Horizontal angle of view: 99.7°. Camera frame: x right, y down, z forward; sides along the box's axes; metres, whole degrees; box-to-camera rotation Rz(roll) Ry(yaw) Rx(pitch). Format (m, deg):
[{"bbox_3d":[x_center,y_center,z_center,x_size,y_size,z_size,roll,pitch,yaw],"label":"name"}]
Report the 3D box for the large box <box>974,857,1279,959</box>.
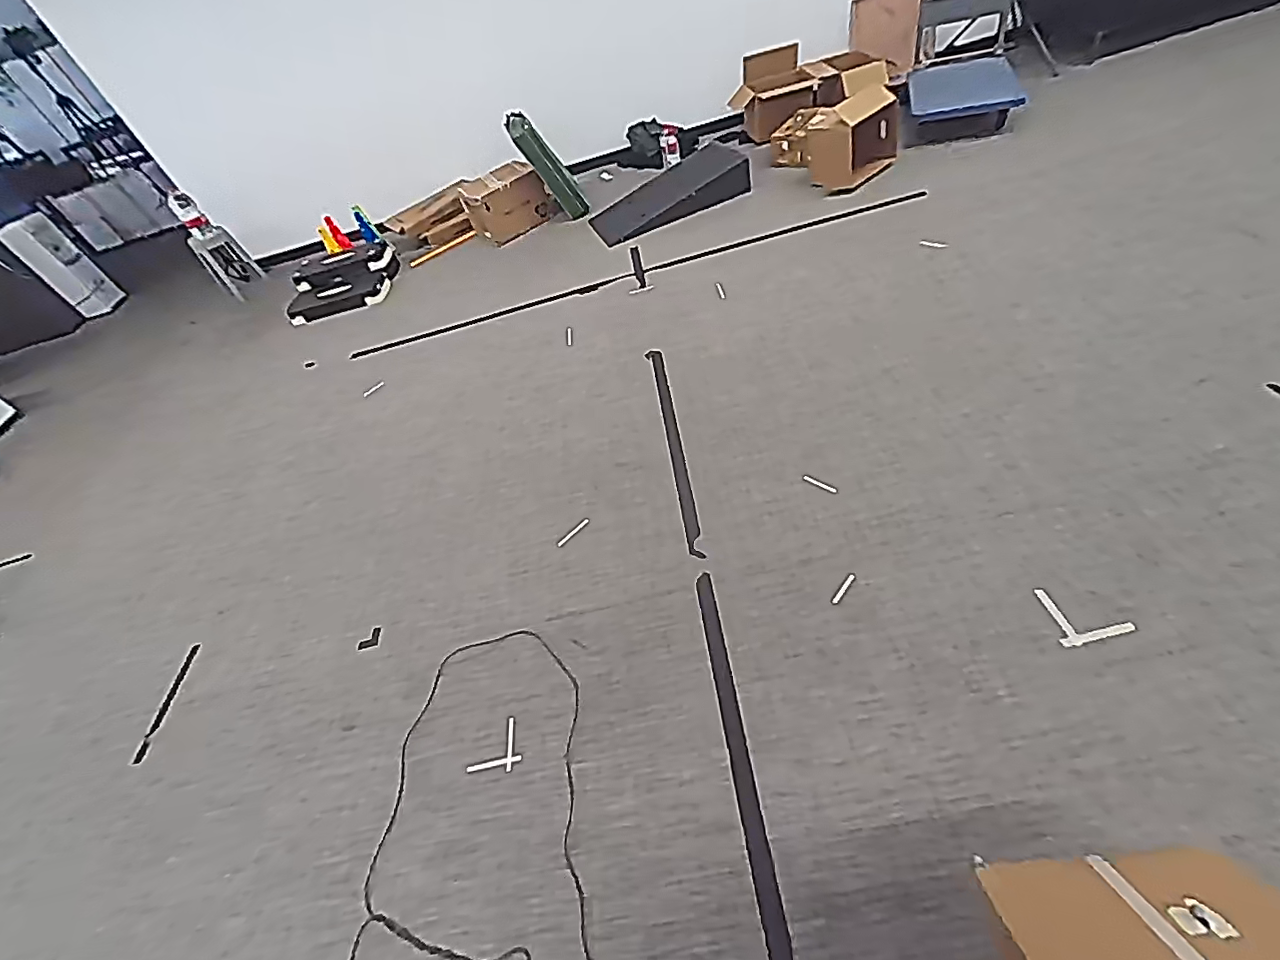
[{"bbox_3d":[0.628,0.679,0.559,0.320,0.408,0.320,-12,82,11],"label":"large box"}]
